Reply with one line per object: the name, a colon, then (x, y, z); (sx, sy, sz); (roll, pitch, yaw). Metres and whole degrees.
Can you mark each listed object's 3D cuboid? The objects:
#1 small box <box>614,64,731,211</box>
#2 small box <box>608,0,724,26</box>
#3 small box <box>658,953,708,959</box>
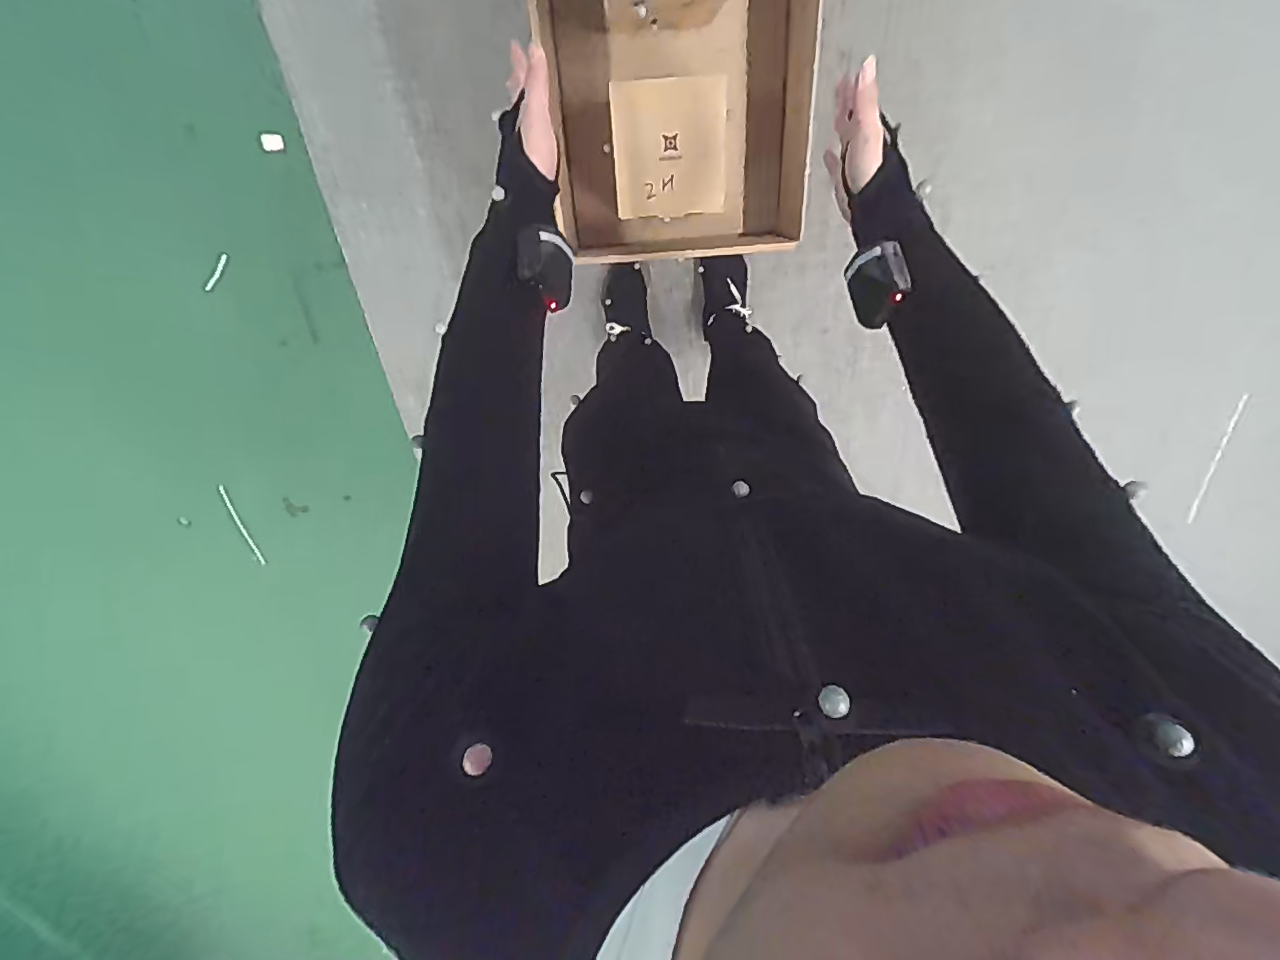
small box: (0.047, -0.525, 0.850); (0.168, 0.176, 0.179); (-3, 119, 2)
small box: (0.031, -0.747, 0.730); (0.168, 0.176, 0.179); (-5, 123, 2)
small box: (0.149, 1.677, 1.761); (0.168, 0.176, 0.179); (-7, 120, 4)
